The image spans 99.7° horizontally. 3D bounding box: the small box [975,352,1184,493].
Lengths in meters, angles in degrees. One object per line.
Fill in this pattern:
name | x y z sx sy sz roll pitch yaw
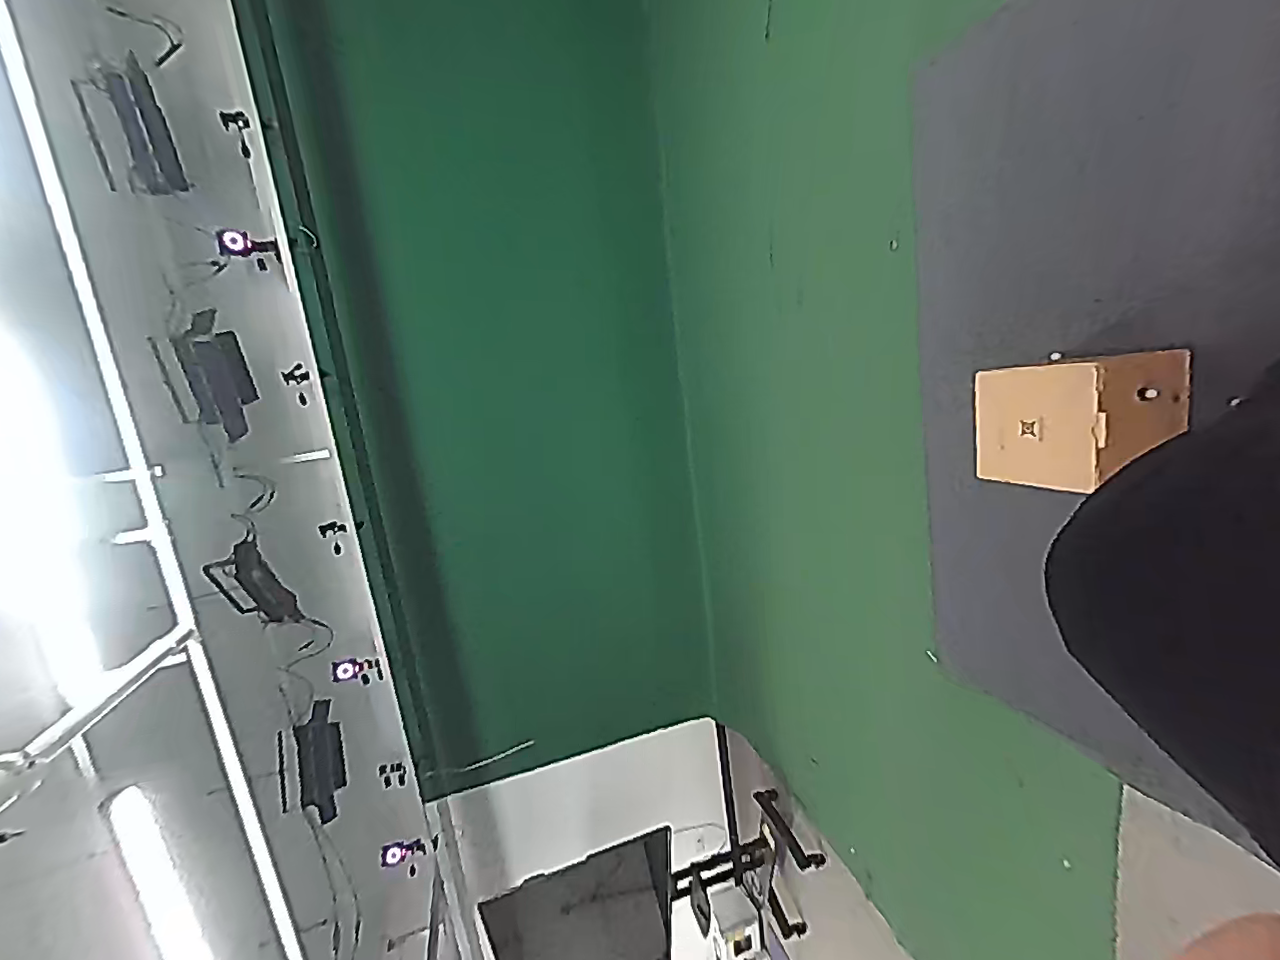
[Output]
small box | 0.623 -0.087 0.775 0.179 0.176 0.168 -156 58 -73
